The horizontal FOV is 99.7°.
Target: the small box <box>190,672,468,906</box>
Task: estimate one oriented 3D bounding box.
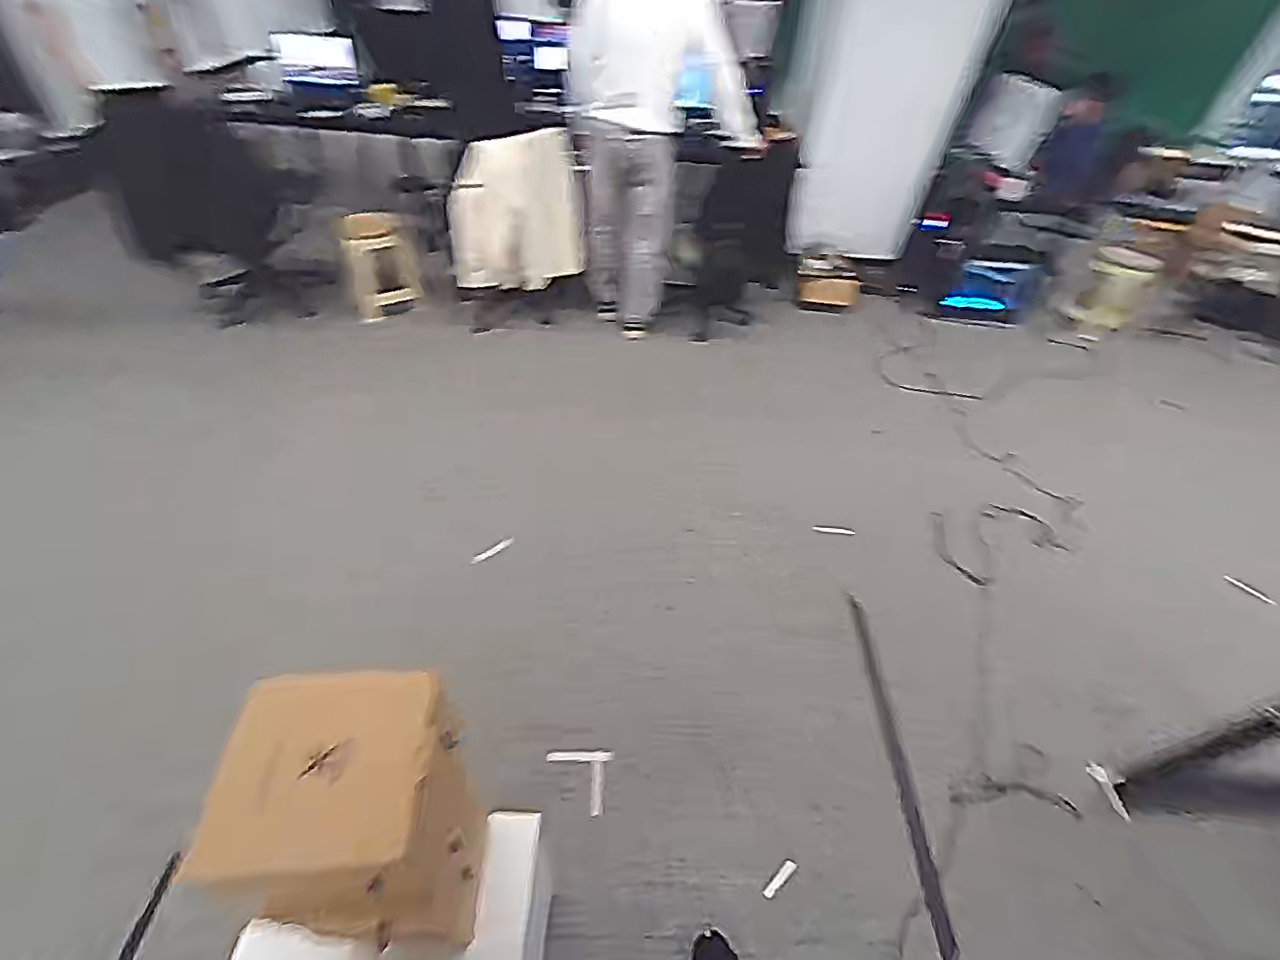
[{"bbox_3d":[-0.279,0.309,0.543,0.179,0.176,0.168,-1,46,-6],"label":"small box"}]

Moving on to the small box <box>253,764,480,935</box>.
[{"bbox_3d":[-0.302,0.432,0.649,0.179,0.176,0.168,2,46,-3],"label":"small box"}]

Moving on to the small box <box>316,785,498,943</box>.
[{"bbox_3d":[-0.312,0.546,0.768,0.179,0.176,0.168,2,47,-3],"label":"small box"}]
